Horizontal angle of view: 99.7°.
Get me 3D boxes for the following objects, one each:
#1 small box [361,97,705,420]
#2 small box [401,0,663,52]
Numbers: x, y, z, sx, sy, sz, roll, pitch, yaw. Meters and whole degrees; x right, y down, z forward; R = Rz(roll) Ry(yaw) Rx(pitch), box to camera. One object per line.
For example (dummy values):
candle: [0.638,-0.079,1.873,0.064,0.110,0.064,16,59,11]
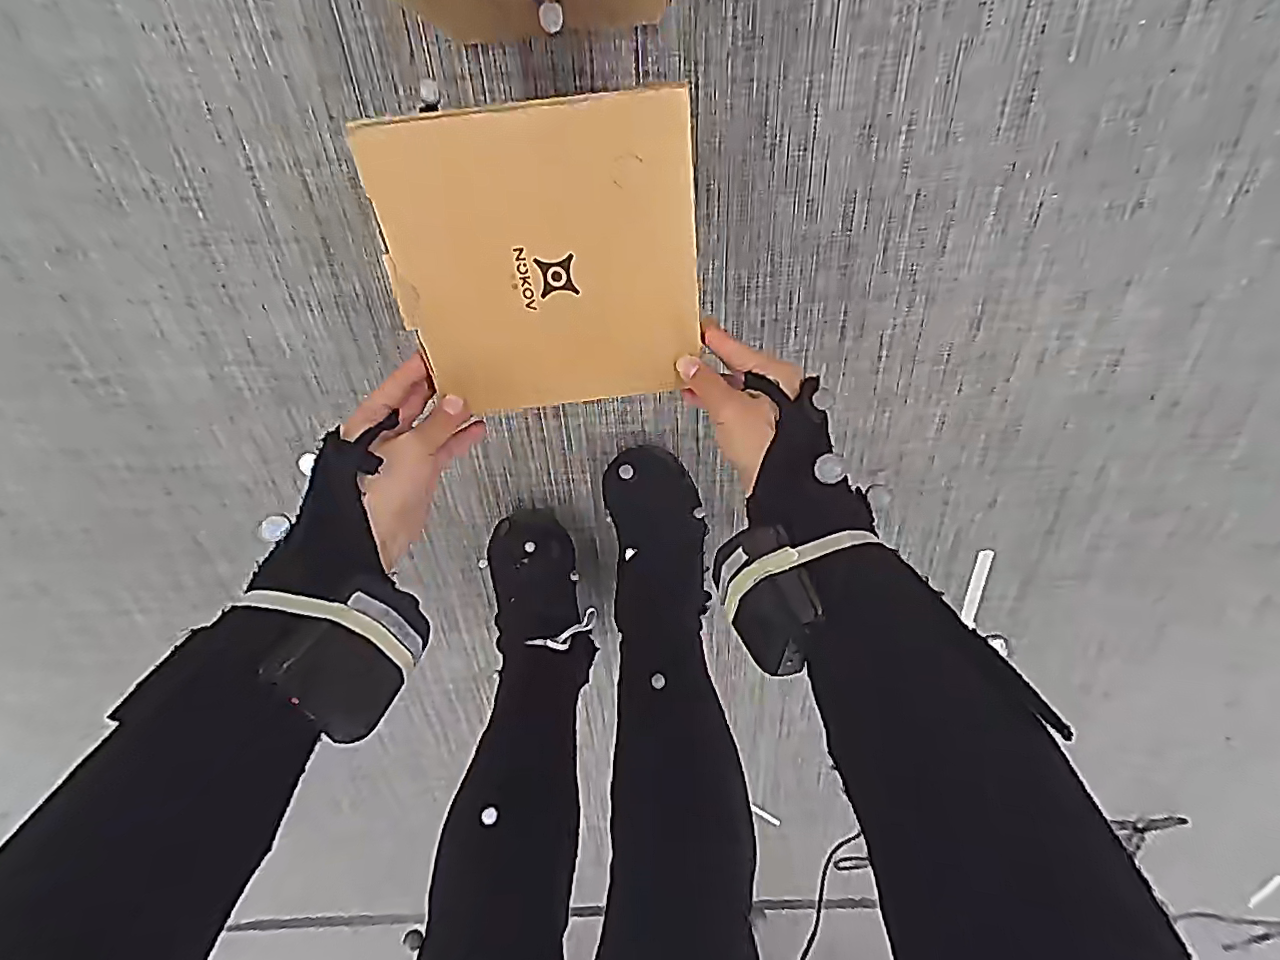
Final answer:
small box: [-0.054,-0.162,0.382,0.179,0.176,0.168,-6,126,1]
small box: [-0.068,-0.386,0.323,0.168,0.176,0.179,-4,121,2]
